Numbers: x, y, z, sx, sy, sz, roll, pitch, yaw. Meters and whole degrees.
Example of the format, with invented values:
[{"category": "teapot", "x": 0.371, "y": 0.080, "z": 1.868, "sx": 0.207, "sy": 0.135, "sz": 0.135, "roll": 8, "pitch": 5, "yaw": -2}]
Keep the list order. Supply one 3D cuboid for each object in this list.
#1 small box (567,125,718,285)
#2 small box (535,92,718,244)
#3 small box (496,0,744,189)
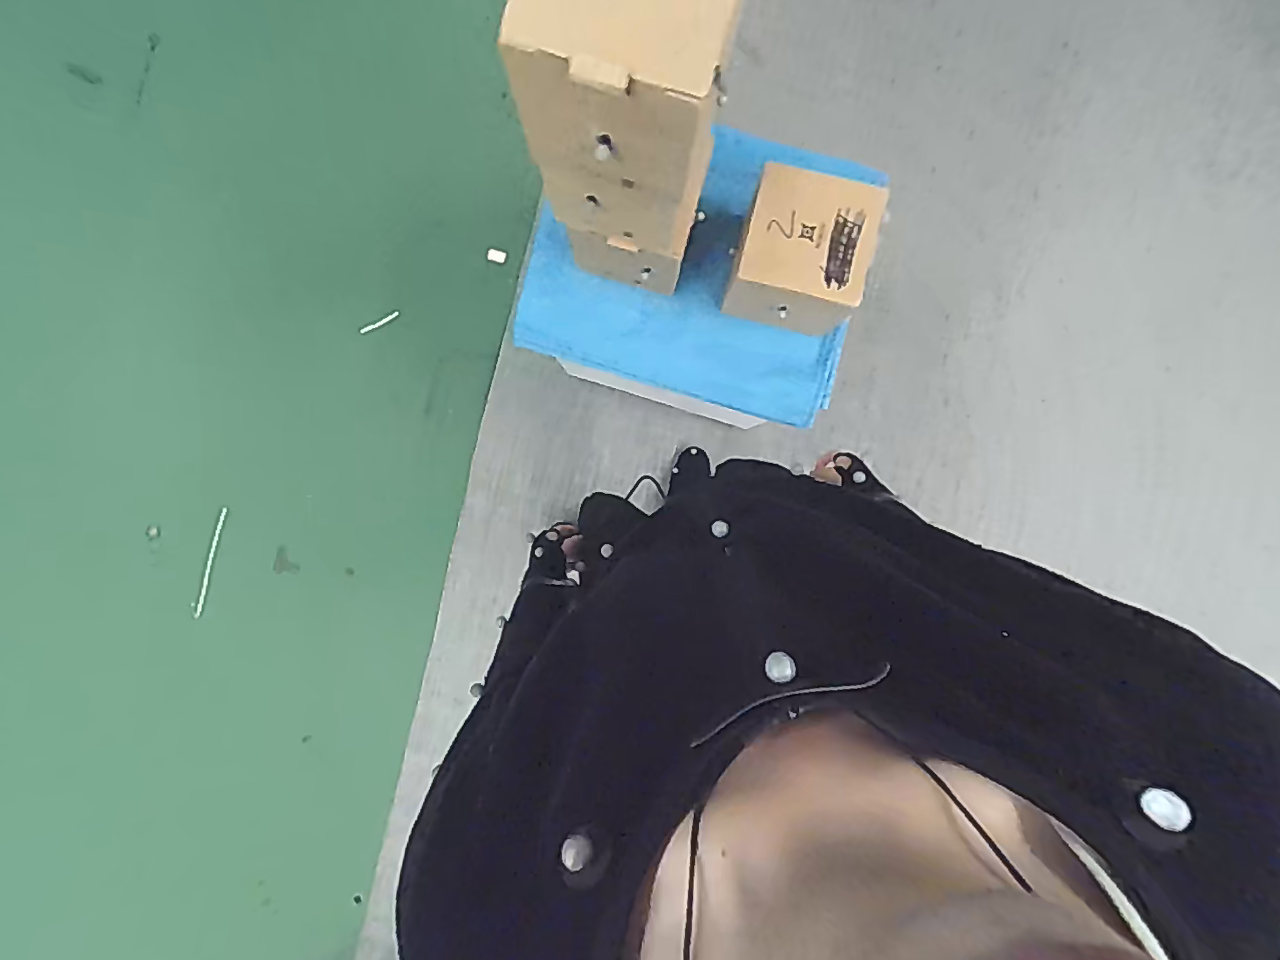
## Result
[{"category": "small box", "x": 0.003, "y": -0.414, "z": 0.802, "sx": 0.168, "sy": 0.176, "sz": 0.179, "roll": 17, "pitch": 91, "yaw": -1}, {"category": "small box", "x": -0.008, "y": -0.413, "z": 0.641, "sx": 0.168, "sy": 0.176, "sz": 0.179, "roll": 18, "pitch": 90, "yaw": -1}, {"category": "small box", "x": -0.005, "y": -0.396, "z": 0.477, "sx": 0.168, "sy": 0.176, "sz": 0.179, "roll": 18, "pitch": 91, "yaw": -2}]
